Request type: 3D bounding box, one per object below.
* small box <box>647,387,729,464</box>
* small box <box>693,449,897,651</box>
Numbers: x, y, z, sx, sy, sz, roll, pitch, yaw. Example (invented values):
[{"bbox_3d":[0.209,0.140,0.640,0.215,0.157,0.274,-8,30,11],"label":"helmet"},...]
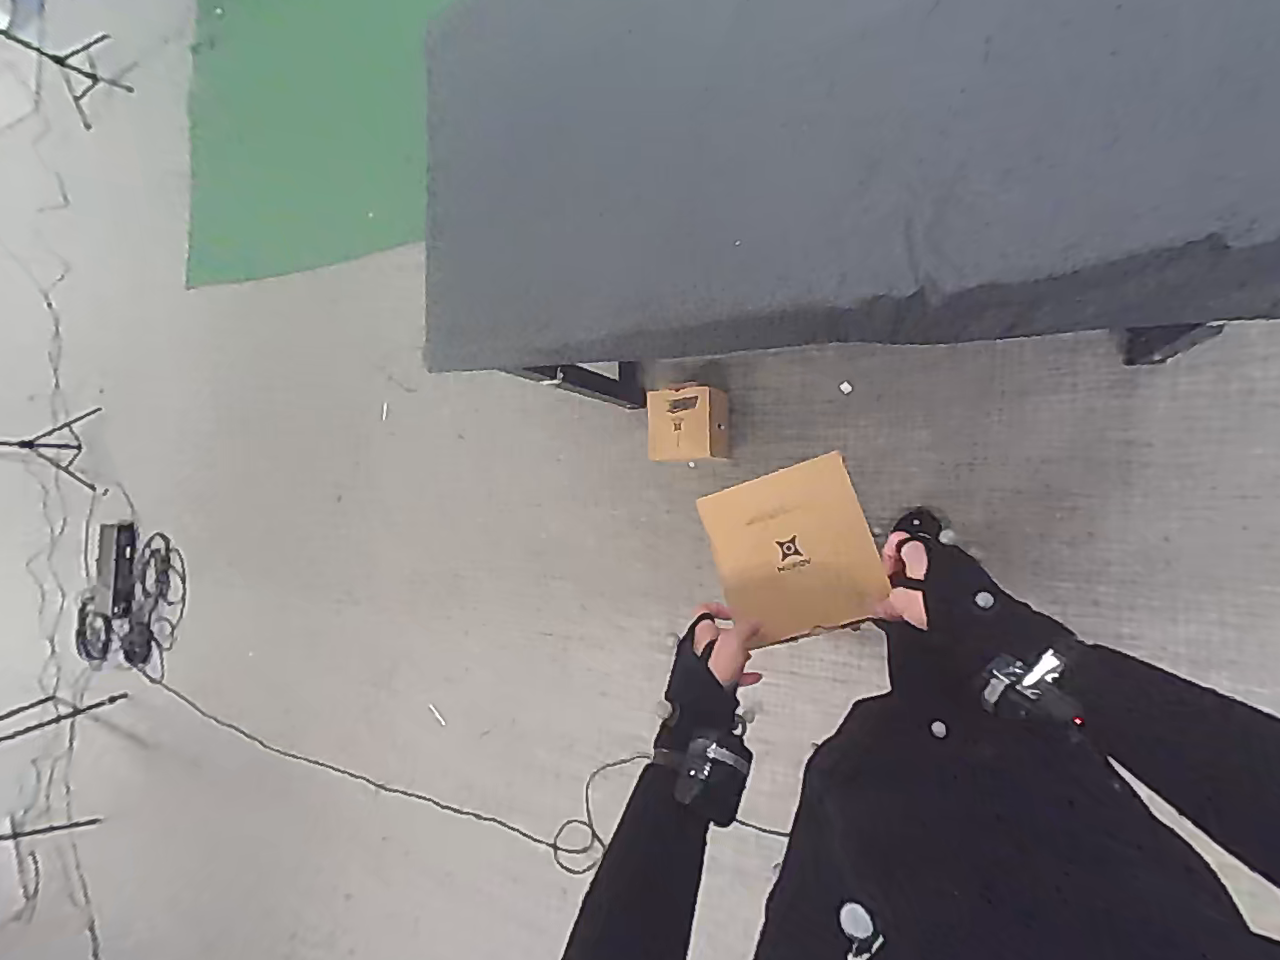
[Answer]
[{"bbox_3d":[0.127,-0.134,1.394,0.168,0.176,0.179,-2,90,26],"label":"small box"},{"bbox_3d":[0.183,0.084,0.641,0.168,0.176,0.179,-22,75,15],"label":"small box"}]
